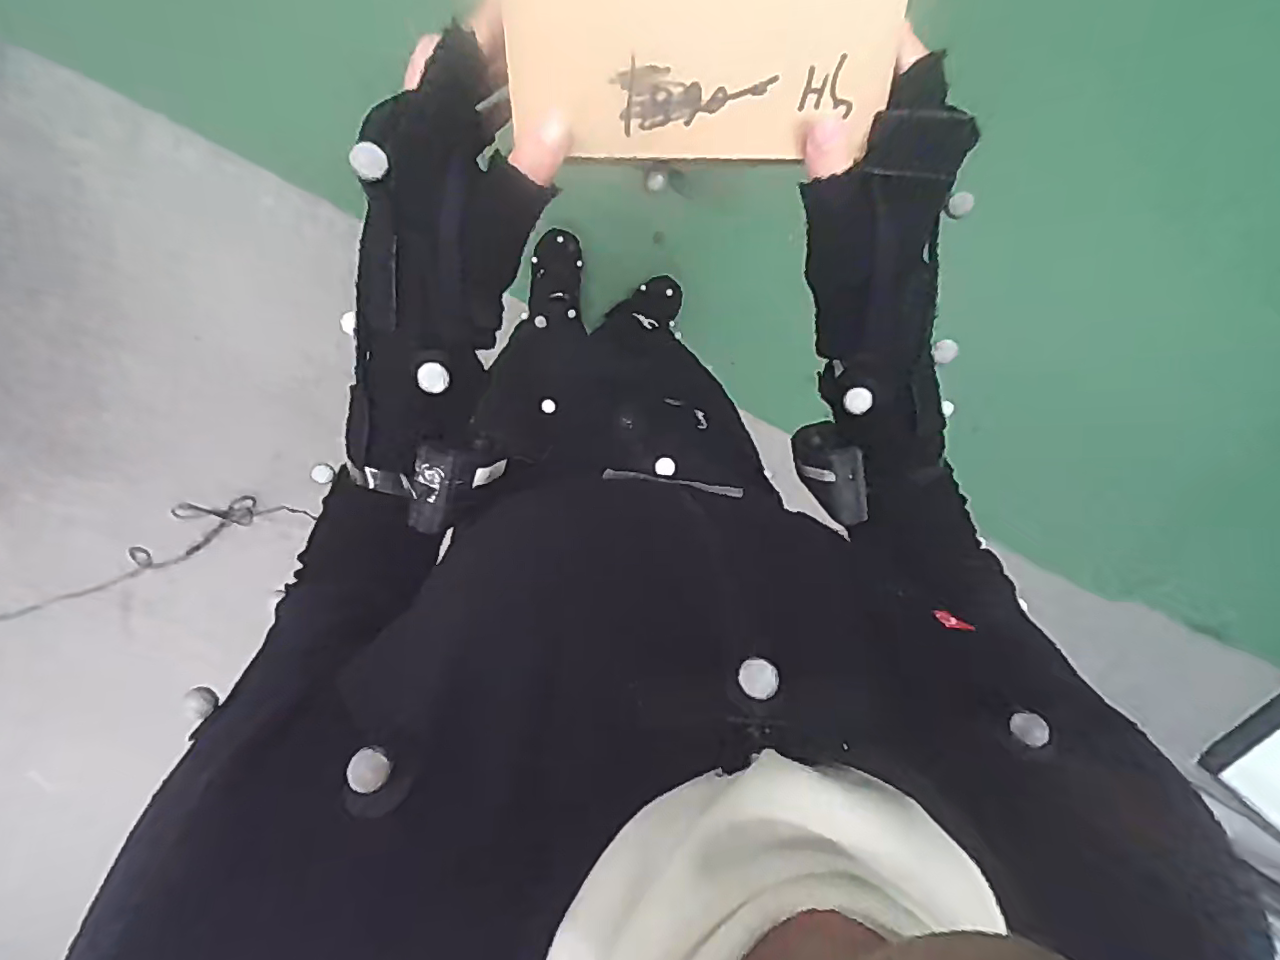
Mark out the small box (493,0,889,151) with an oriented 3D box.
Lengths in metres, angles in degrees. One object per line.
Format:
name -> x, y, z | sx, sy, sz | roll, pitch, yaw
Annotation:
small box -> 0.013, -0.268, 0.267 | 0.168, 0.176, 0.179 | -3, 121, -6
